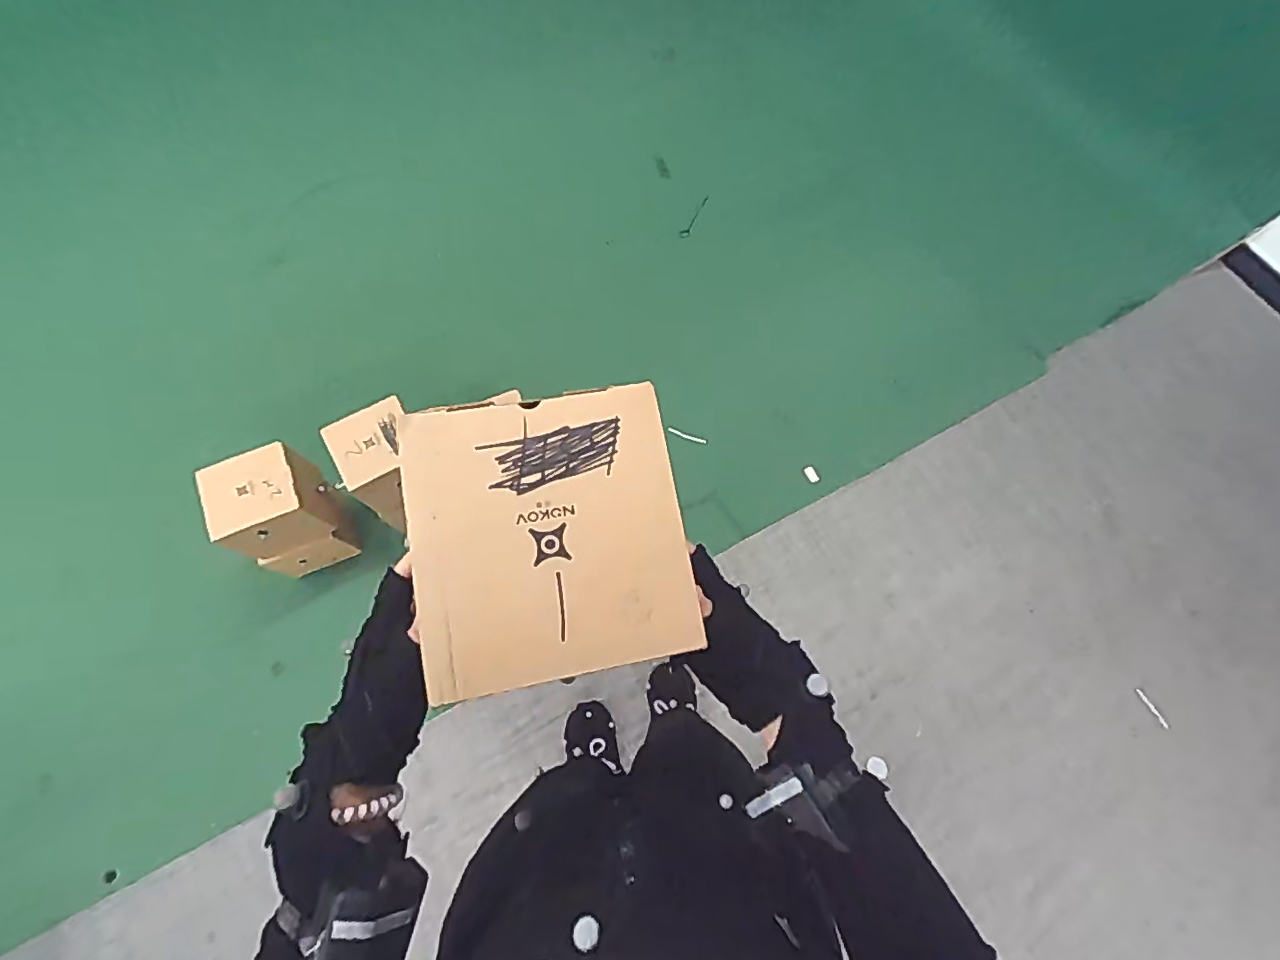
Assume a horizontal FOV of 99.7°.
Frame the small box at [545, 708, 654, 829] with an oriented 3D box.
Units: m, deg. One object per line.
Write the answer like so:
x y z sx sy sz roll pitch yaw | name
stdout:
-0.092 0.637 1.213 0.179 0.176 0.168 23 81 21 | small box

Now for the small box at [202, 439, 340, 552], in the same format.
-0.800 0.041 1.185 0.179 0.176 0.168 -22 72 -11 | small box

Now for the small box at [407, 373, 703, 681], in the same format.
-0.064 0.039 0.413 0.168 0.176 0.179 -9 78 -9 | small box

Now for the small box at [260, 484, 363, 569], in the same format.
-0.814 0.110 1.335 0.168 0.176 0.179 -21 72 -11 | small box
